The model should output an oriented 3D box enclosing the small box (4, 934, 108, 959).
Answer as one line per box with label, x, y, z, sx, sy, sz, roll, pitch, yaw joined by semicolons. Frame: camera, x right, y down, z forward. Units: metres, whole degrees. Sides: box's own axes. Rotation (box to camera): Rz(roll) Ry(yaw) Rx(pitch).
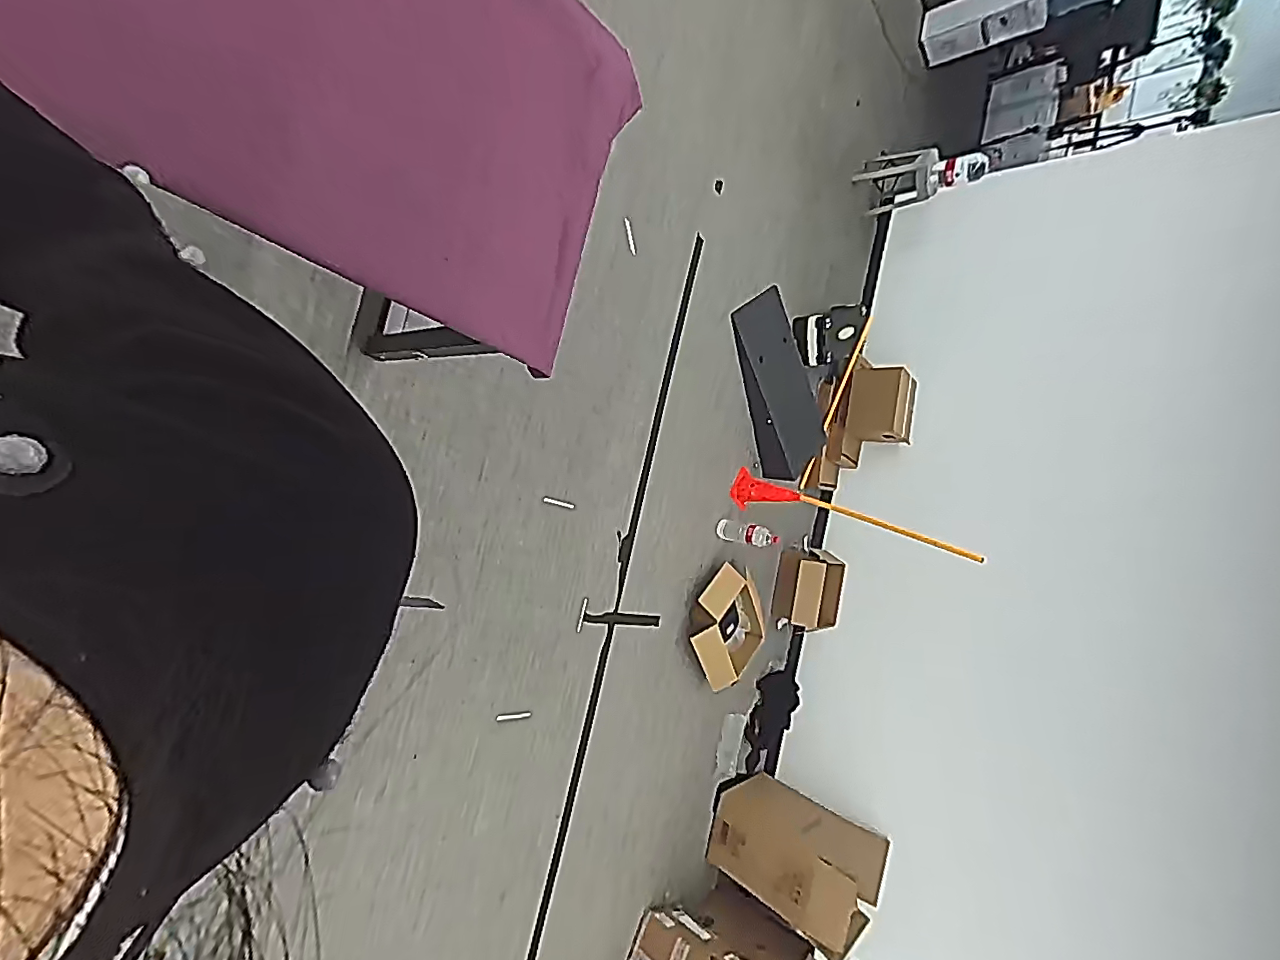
small box;-0.729;0.683;0.610;0.168;0.176;0.179;21;82;-49
